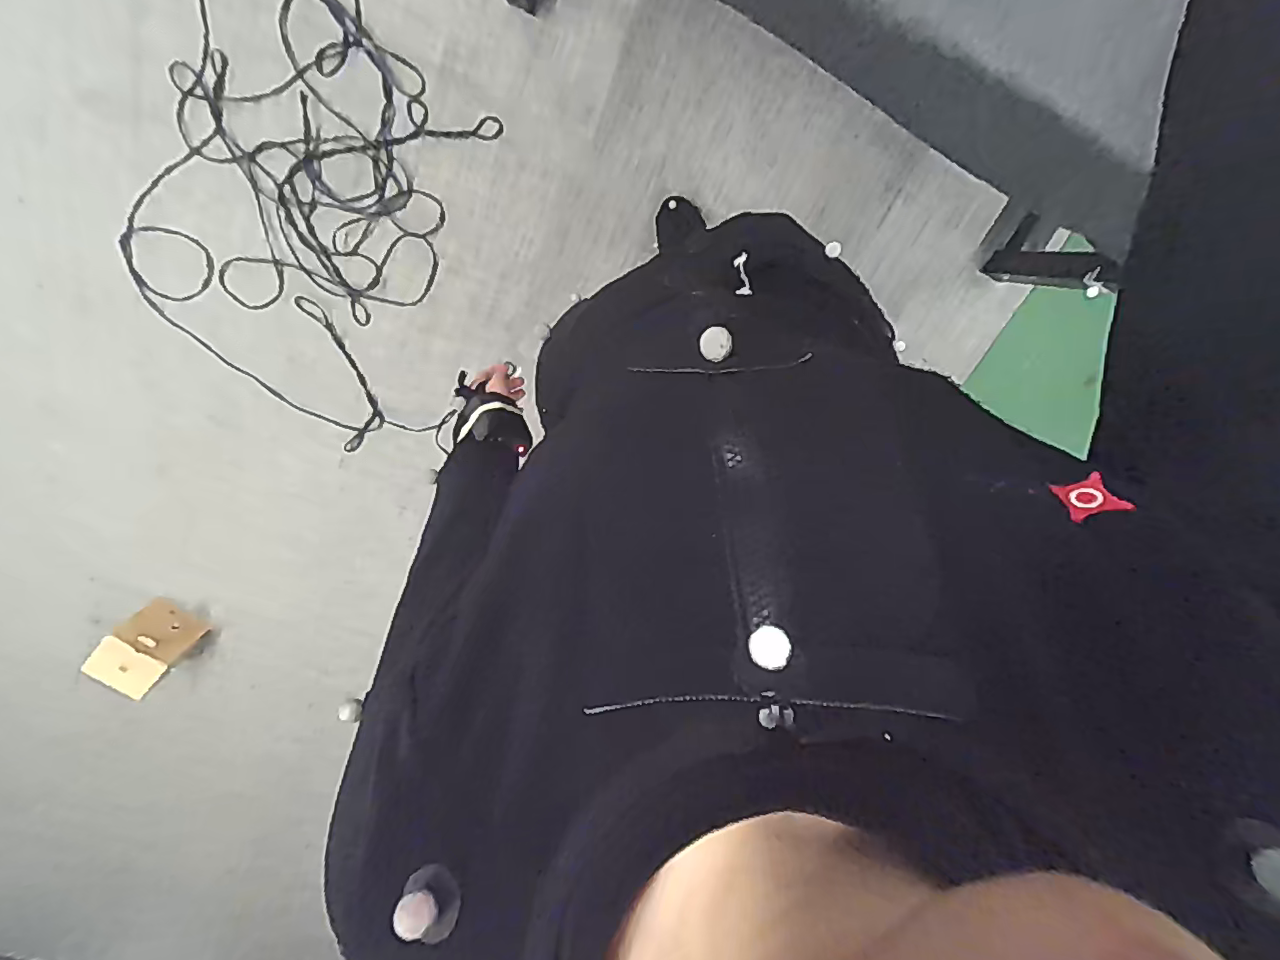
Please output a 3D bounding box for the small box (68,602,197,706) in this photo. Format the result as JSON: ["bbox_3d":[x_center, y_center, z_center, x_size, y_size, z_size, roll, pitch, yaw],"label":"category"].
[{"bbox_3d":[-1.396,0.478,1.500,0.179,0.176,0.168,-43,107,15],"label":"small box"}]
